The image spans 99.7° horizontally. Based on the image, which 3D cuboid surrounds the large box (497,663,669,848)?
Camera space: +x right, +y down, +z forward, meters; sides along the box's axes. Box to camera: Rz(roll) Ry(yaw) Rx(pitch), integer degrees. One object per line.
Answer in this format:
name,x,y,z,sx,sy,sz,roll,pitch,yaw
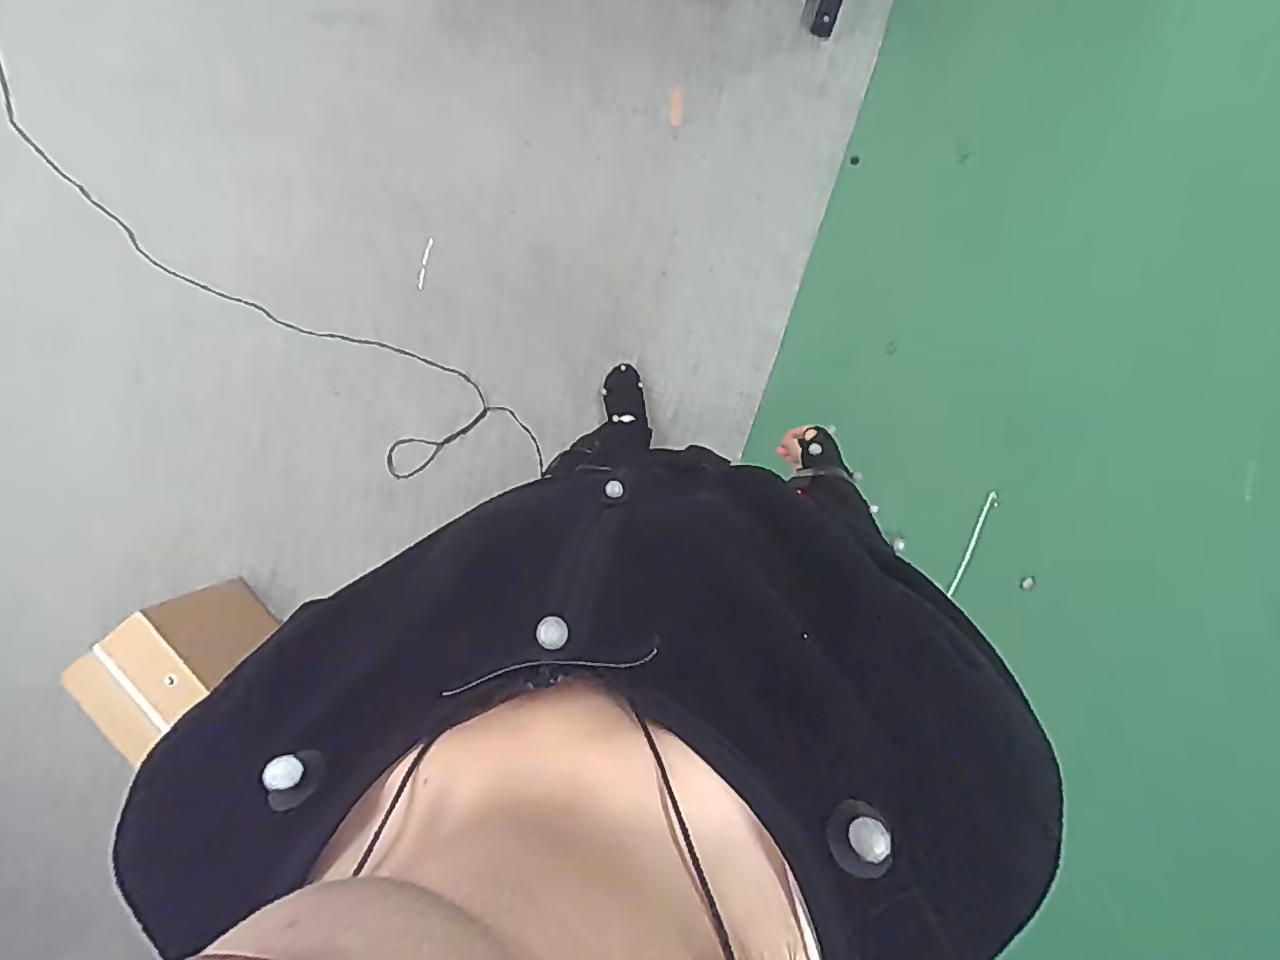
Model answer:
large box,-0.135,0.701,1.426,0.408,0.320,0.320,4,97,3
